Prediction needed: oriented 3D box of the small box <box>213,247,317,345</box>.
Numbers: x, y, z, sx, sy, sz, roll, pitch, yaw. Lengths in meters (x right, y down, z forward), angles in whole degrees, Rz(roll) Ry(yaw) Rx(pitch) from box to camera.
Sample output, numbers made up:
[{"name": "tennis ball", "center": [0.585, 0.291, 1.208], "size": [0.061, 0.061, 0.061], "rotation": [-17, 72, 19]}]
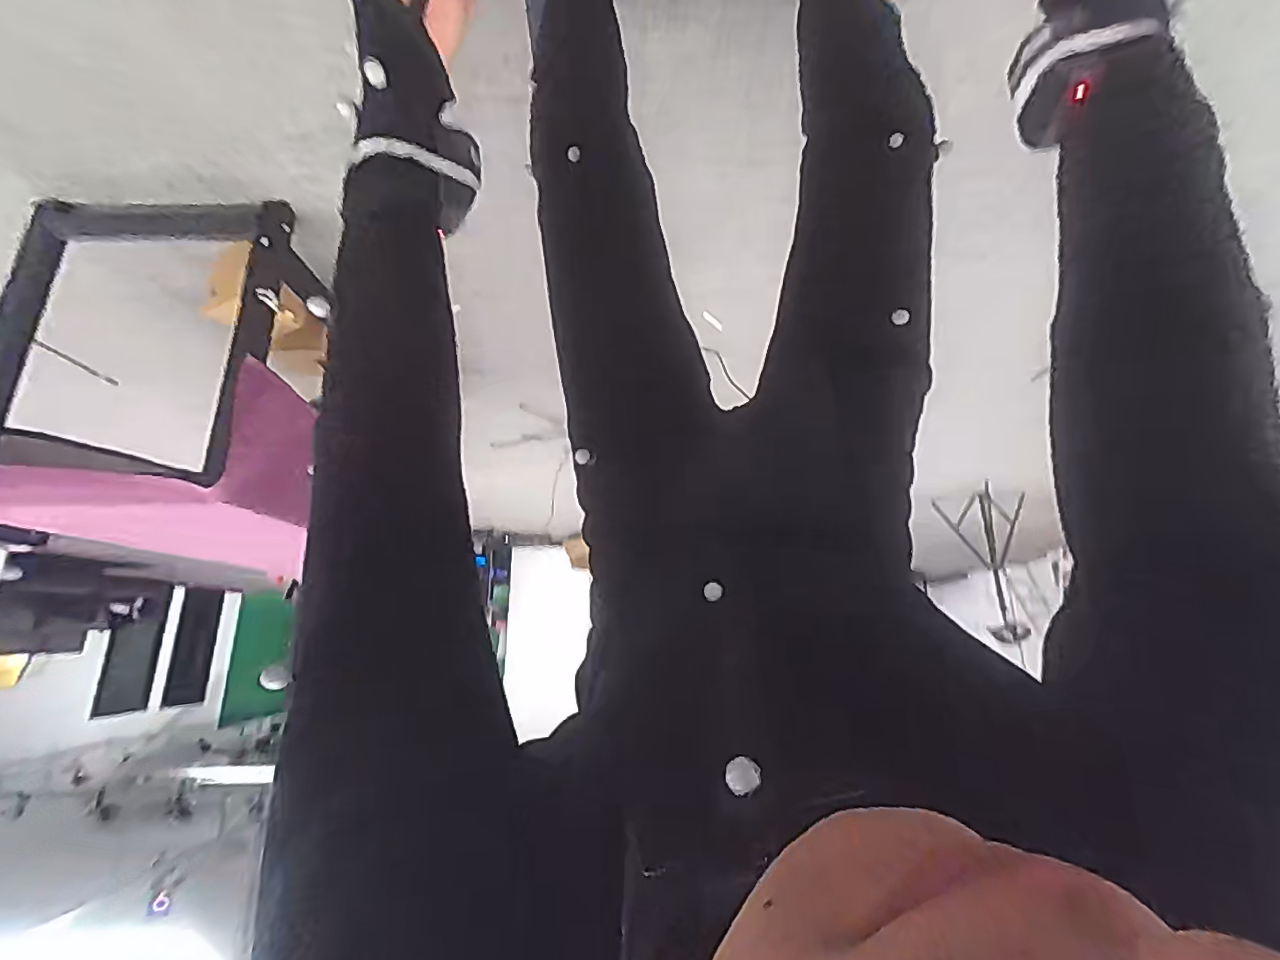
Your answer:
[{"name": "small box", "center": [-1.020, -0.501, 1.485], "size": [0.179, 0.176, 0.168], "rotation": [-9, 162, 26]}]
